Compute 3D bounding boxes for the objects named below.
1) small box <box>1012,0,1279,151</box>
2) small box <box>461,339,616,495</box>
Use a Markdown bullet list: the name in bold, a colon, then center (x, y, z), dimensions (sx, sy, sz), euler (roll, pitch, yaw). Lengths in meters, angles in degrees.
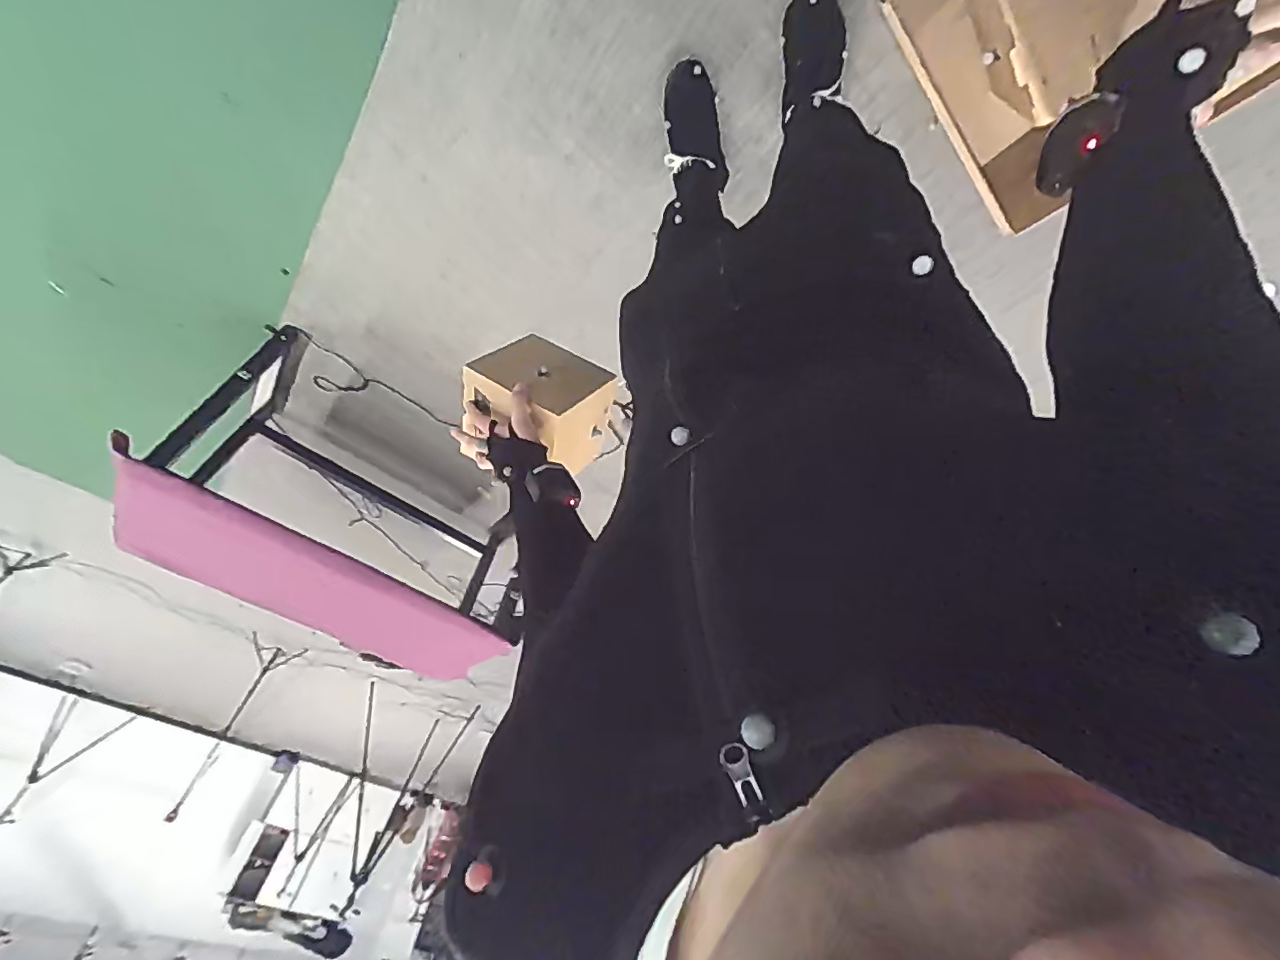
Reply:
- **small box**: center (0.503, -0.475, 0.531), dimensions (0.179, 0.176, 0.168), euler (-32, 124, 30)
- **small box**: center (-0.165, -0.112, 0.879), dimensions (0.179, 0.176, 0.168), euler (28, 131, 13)
